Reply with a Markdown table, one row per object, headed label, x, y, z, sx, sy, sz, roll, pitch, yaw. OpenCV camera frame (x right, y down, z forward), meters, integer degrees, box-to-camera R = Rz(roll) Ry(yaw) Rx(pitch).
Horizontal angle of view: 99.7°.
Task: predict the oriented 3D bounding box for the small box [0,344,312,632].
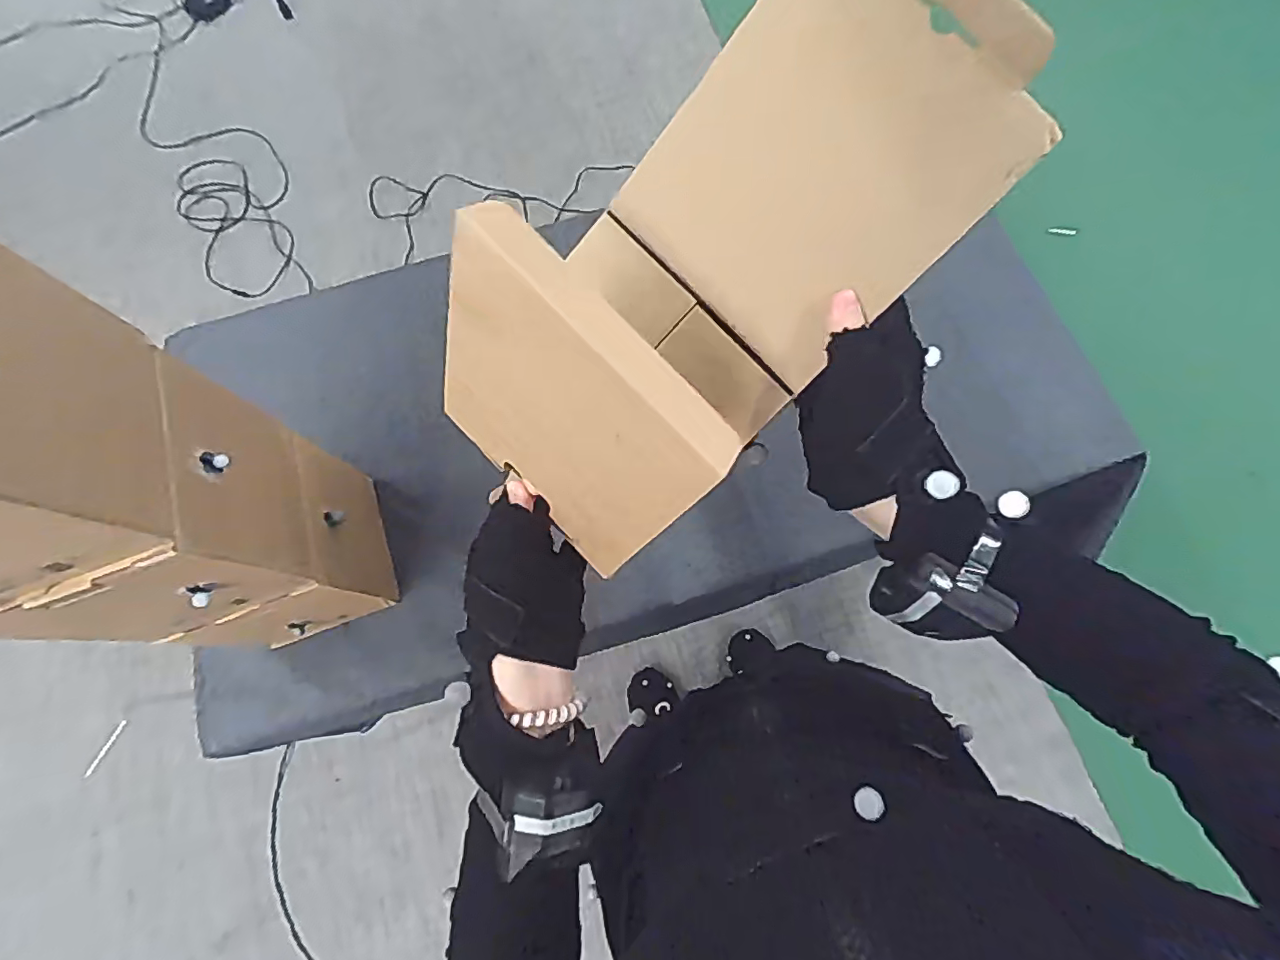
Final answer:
| label | x | y | z | sx | sy | sz | roll | pitch | yaw |
| --- | --- | --- | --- | --- | --- | --- | --- | --- | --- |
| small box | -0.414 | 0.021 | 0.463 | 0.168 | 0.176 | 0.179 | -19 | 73 | -4 |

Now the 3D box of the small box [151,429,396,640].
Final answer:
| label | x | y | z | sx | sy | sz | roll | pitch | yaw |
| --- | --- | --- | --- | --- | --- | --- | --- | --- | --- |
| small box | -0.407 | 0.072 | 0.617 | 0.168 | 0.176 | 0.179 | -20 | 73 | -4 |

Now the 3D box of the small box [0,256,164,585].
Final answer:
| label | x | y | z | sx | sy | sz | roll | pitch | yaw |
| --- | --- | --- | --- | --- | --- | --- | --- | --- | --- |
| small box | -0.424 | -0.035 | 0.309 | 0.168 | 0.176 | 0.179 | -21 | 73 | -5 |

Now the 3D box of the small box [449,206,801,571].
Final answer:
| label | x | y | z | sx | sy | sz | roll | pitch | yaw |
| --- | --- | --- | --- | --- | --- | --- | --- | --- | --- |
| small box | -0.001 | -0.063 | 0.423 | 0.179 | 0.176 | 0.168 | -45 | 85 | 14 |
